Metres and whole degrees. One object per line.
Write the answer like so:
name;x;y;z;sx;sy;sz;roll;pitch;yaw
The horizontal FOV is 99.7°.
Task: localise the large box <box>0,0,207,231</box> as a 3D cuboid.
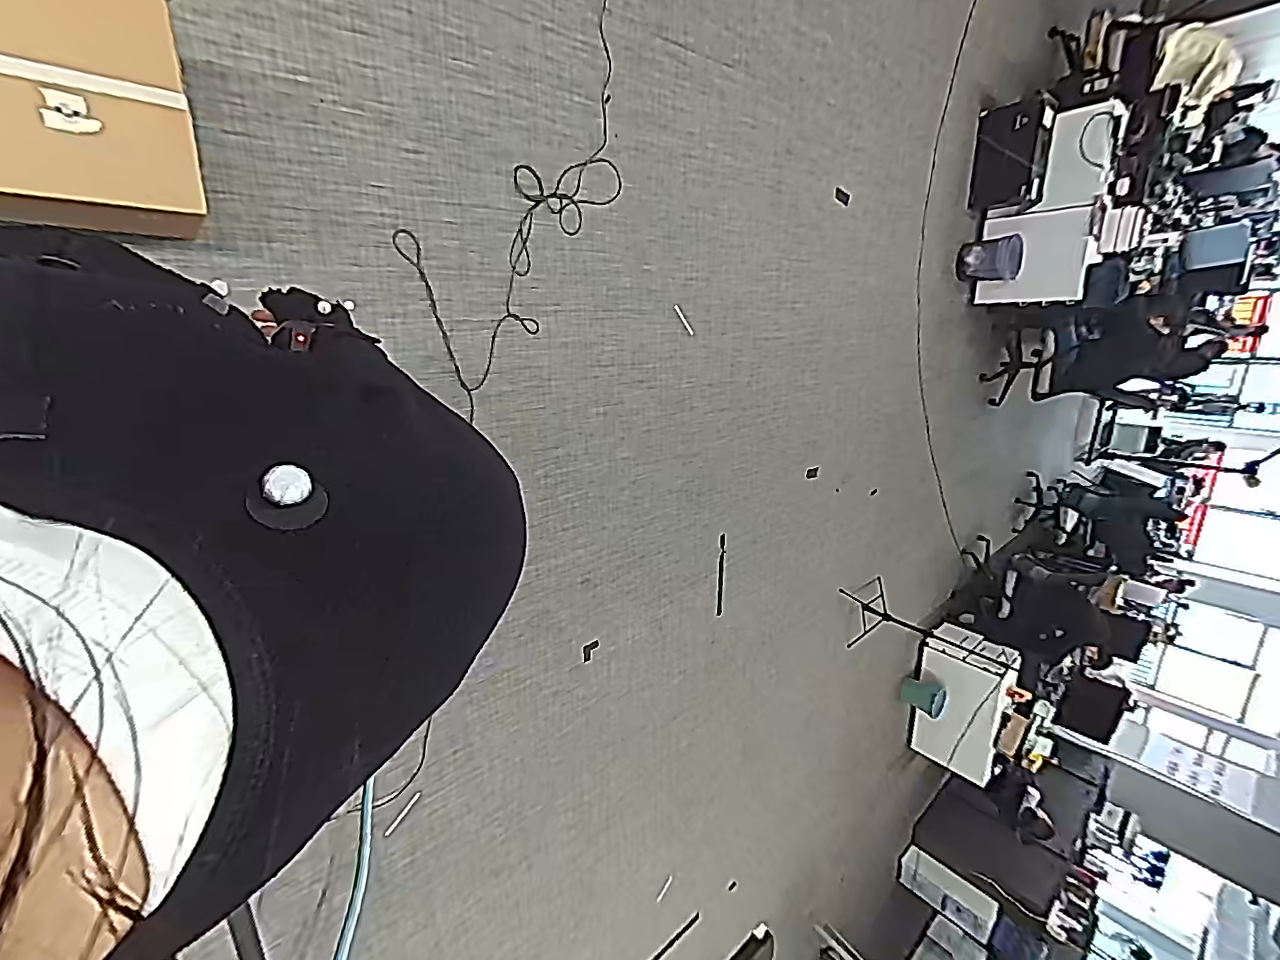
large box;-0.944;-0.579;0.810;0.408;0.320;0.320;-13;111;-40
